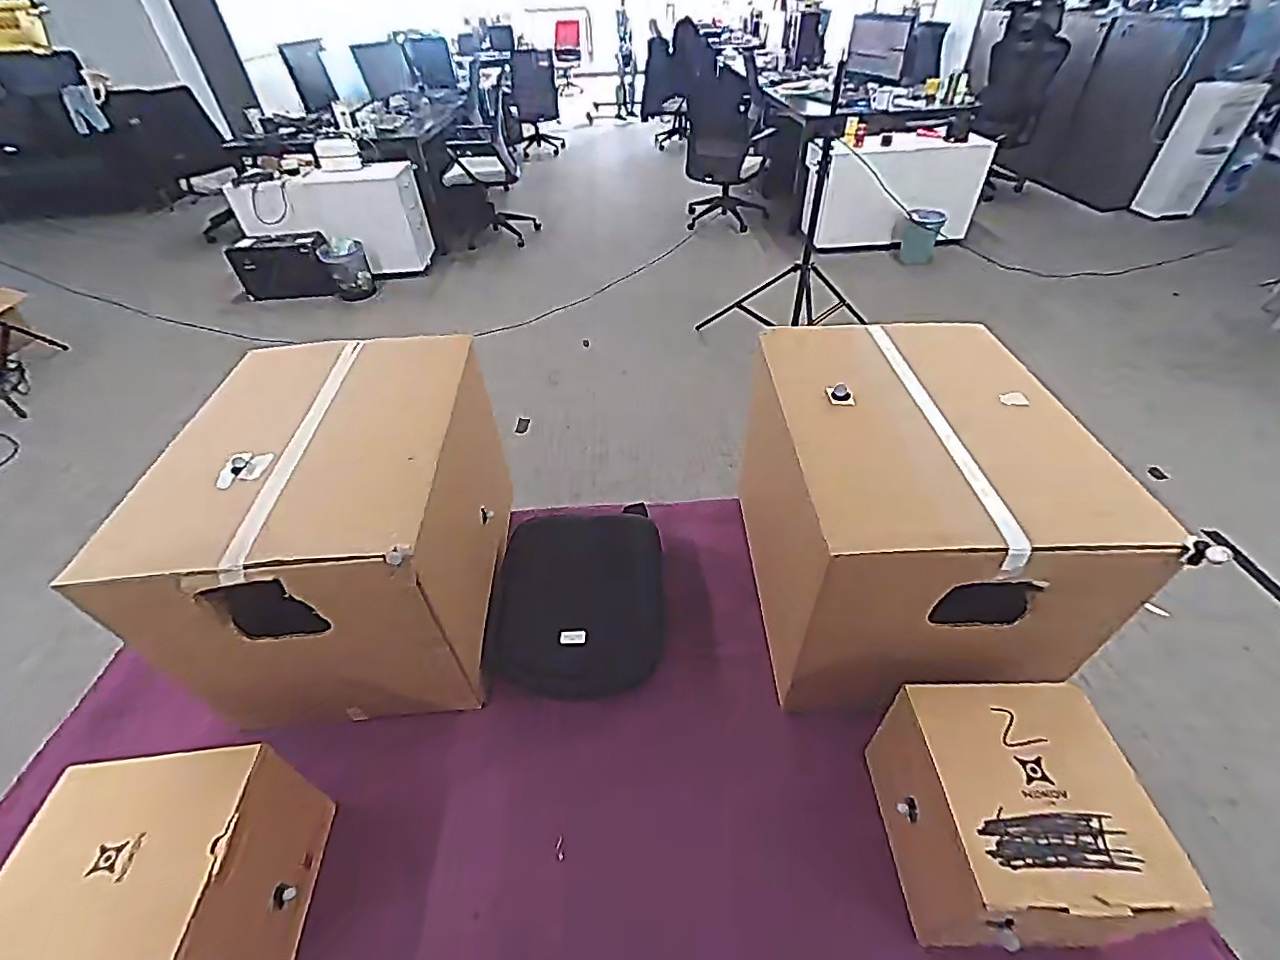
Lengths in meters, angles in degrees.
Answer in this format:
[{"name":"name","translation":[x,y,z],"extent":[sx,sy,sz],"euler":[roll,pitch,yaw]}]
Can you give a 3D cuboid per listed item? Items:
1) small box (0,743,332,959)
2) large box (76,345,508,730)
[{"name":"small box","translation":[-0.425,0.370,0.496],"extent":[0.179,0.176,0.168],"euler":[-6,41,-5]},{"name":"large box","translation":[-0.367,0.063,0.728],"extent":[0.320,0.320,0.408],"euler":[-6,45,-2]}]
